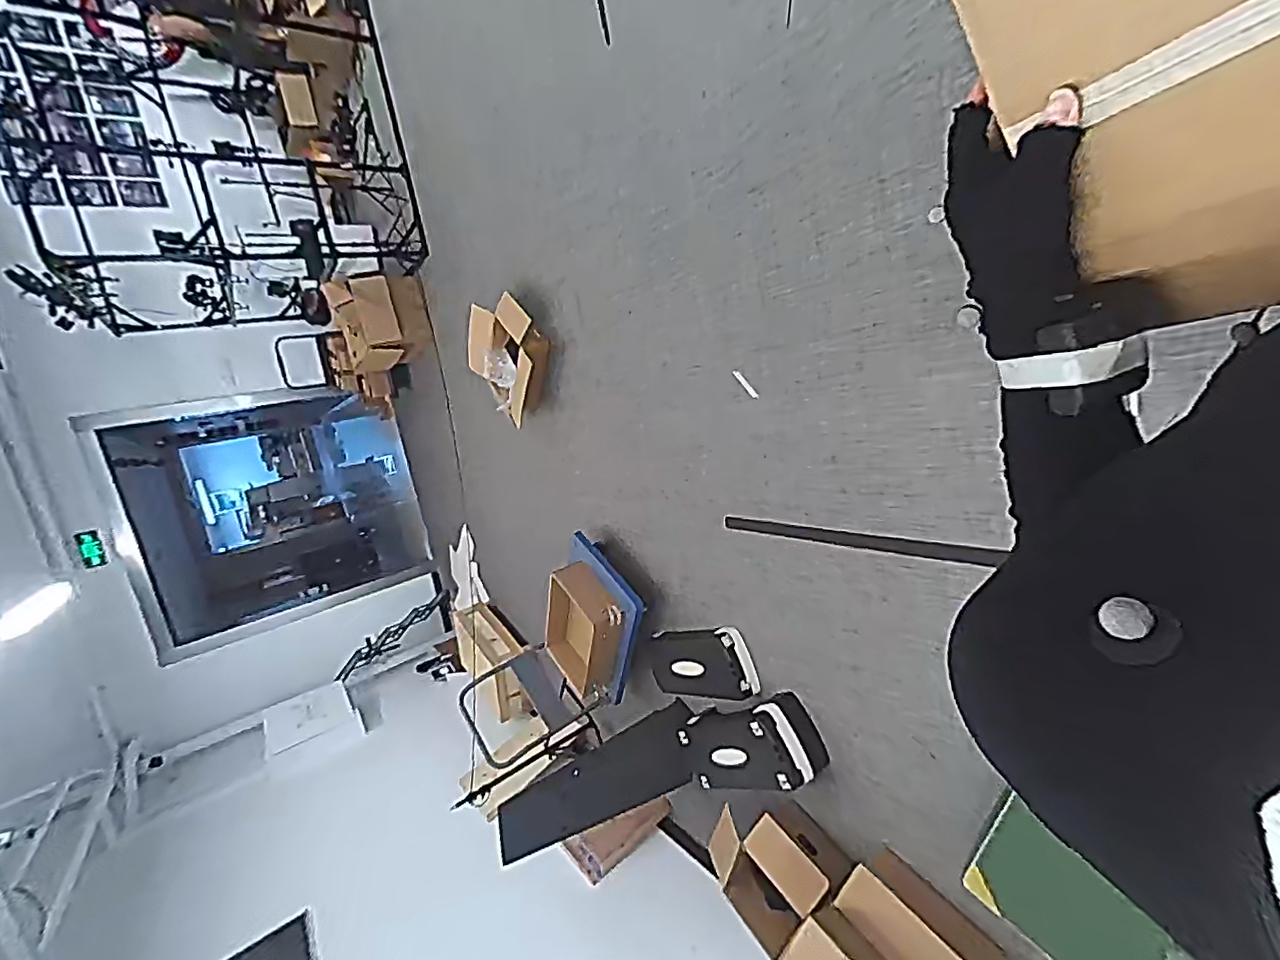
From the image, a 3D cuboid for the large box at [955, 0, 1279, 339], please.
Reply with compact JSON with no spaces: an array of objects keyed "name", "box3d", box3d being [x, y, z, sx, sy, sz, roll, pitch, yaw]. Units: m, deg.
[{"name":"large box","box3d":[0.436,-0.323,0.243,0.320,0.320,0.408,49,155,-21]}]
